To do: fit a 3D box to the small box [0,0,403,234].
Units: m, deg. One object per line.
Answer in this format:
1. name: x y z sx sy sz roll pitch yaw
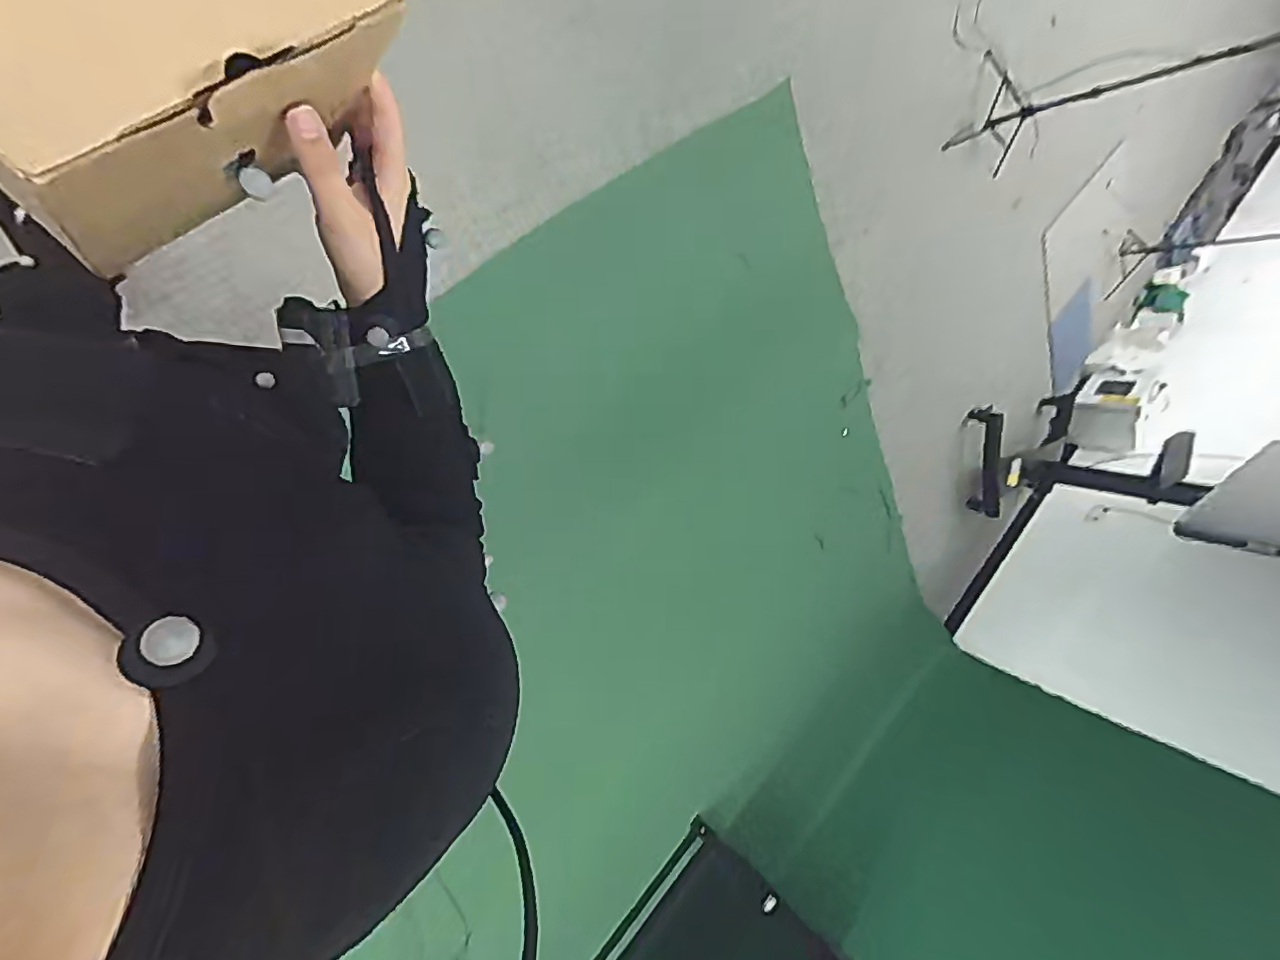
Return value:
1. small box: -0.244 -0.228 0.229 0.168 0.176 0.179 -48 123 -23
